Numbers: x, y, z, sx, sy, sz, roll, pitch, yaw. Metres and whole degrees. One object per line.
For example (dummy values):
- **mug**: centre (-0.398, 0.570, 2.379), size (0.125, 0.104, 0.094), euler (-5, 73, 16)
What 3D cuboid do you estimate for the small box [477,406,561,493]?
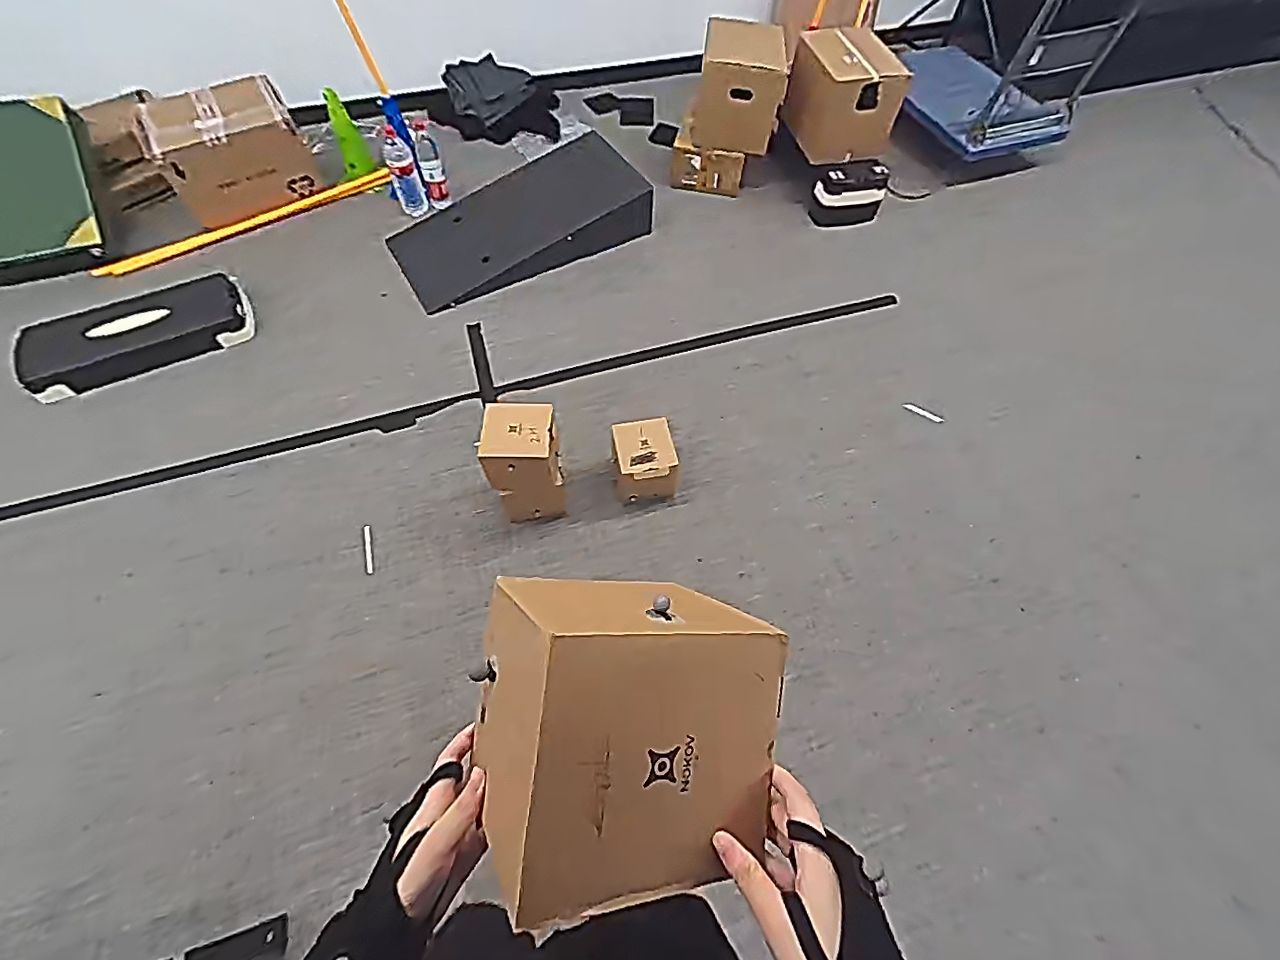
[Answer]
- **small box**: centre (-0.309, -0.076, 1.417), size (0.179, 0.176, 0.168), euler (1, 60, -1)

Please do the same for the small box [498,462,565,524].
- **small box**: centre (-0.313, 0.010, 1.558), size (0.179, 0.176, 0.168), euler (-9, 60, -9)

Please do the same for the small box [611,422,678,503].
- **small box**: centre (0.011, -0.046, 1.605), size (0.168, 0.176, 0.179), euler (-9, 59, -8)
